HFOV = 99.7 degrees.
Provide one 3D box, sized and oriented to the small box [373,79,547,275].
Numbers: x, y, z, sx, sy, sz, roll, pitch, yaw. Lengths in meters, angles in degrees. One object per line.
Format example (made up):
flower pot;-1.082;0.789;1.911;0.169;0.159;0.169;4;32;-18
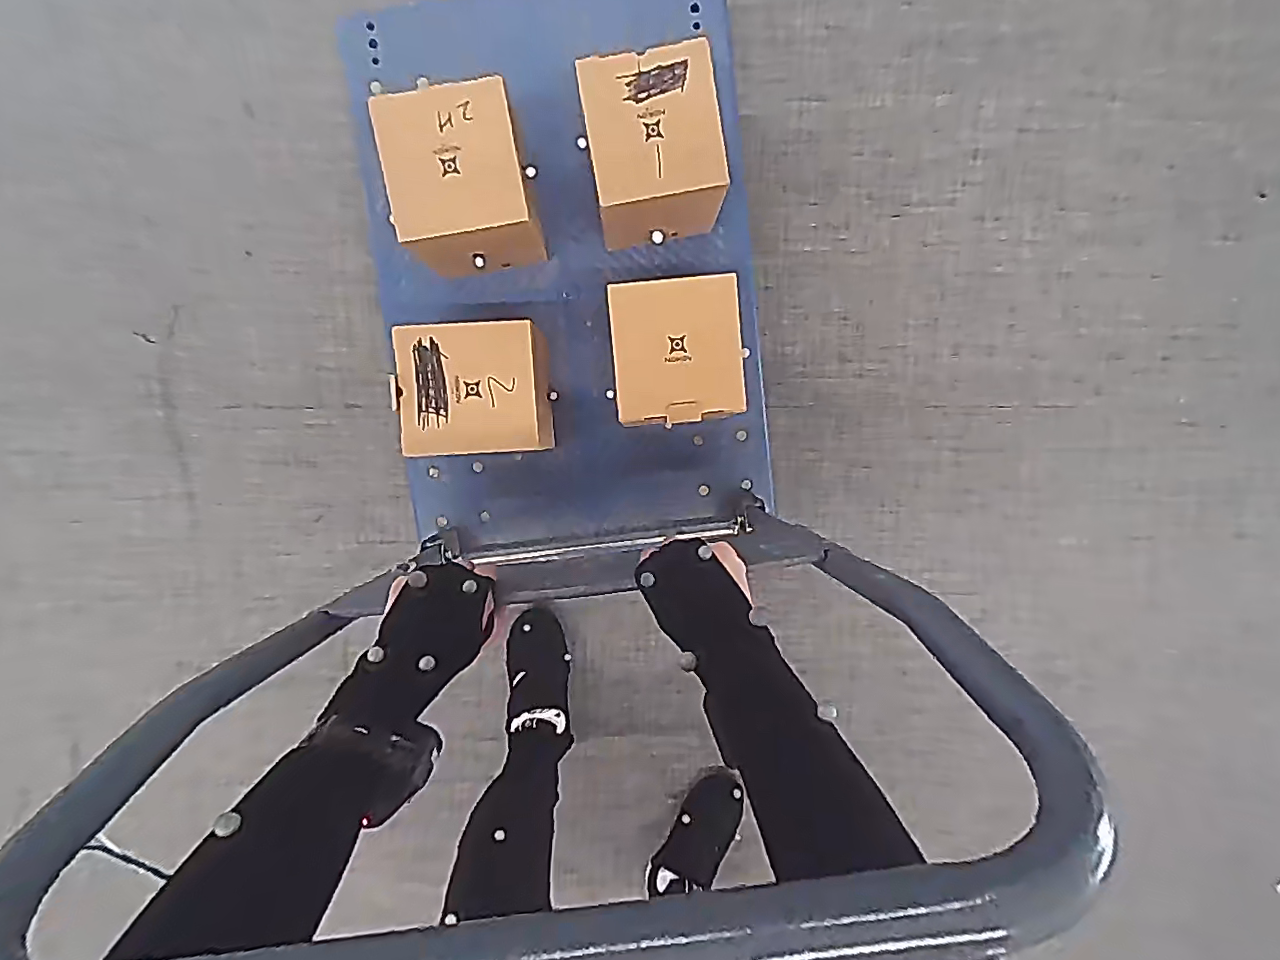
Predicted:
small box;-0.230;-0.394;0.738;0.168;0.176;0.179;-10;95;-1

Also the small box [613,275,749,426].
small box;0.049;-0.172;0.764;0.168;0.176;0.179;-6;96;-1

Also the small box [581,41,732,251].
small box;0.019;-0.440;0.739;0.168;0.176;0.179;-10;96;1
